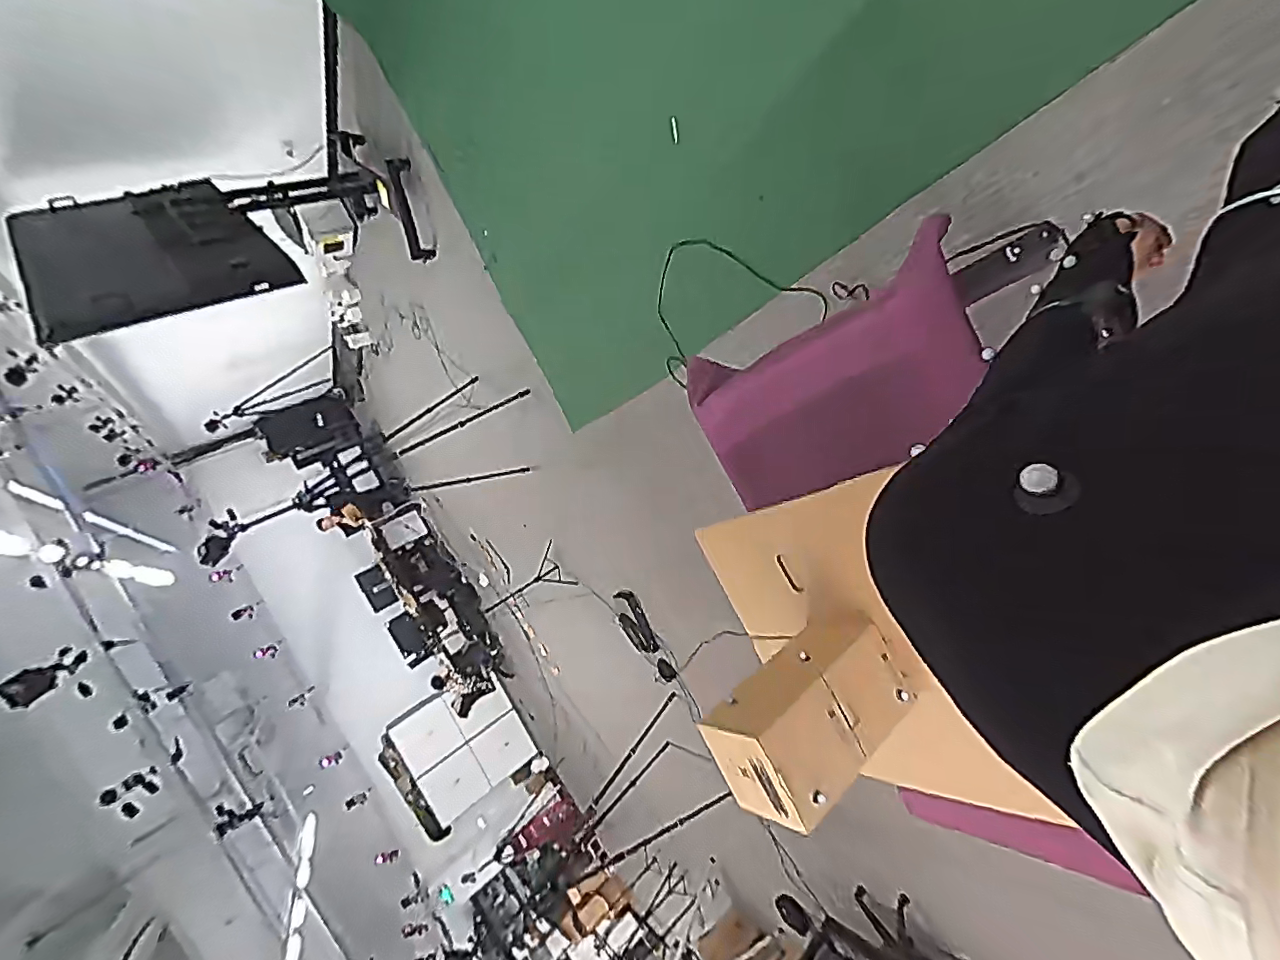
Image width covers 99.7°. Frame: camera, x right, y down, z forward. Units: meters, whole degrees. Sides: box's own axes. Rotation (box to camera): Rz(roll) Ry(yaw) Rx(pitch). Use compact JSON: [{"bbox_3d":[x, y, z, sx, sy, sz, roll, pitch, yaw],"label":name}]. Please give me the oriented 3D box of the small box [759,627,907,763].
[{"bbox_3d":[0.365,0.388,1.009,0.168,0.176,0.179,62,149,1],"label":"small box"}]
